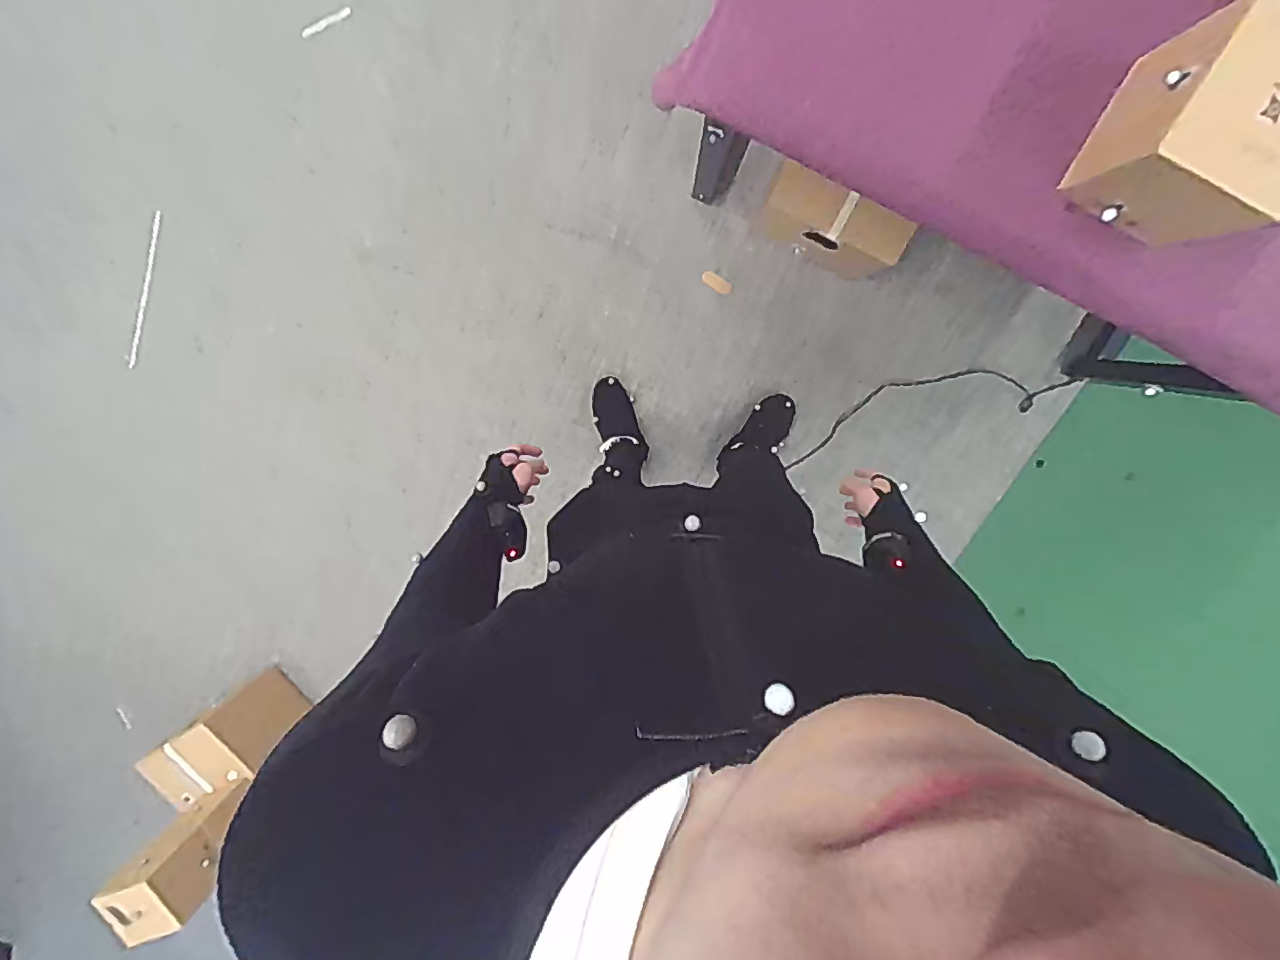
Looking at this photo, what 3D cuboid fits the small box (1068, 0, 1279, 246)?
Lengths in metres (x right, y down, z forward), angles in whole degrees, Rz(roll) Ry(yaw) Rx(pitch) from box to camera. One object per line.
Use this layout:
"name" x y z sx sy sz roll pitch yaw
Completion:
"small box" 0.668 -0.405 0.634 0.168 0.176 0.179 27 104 -3

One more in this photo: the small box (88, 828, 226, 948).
"small box" -1.258 1.066 1.422 0.179 0.176 0.168 -22 102 7
